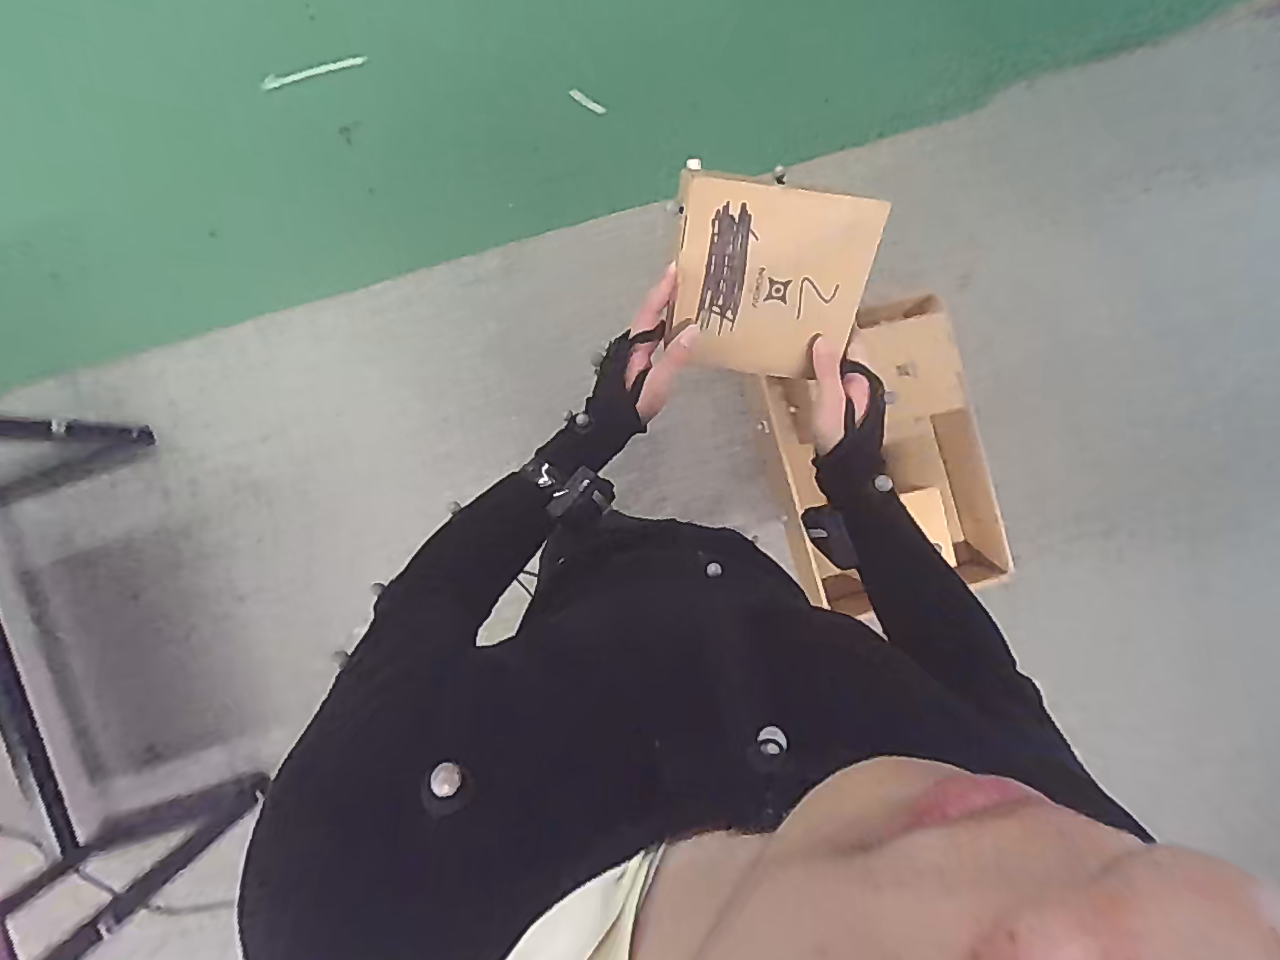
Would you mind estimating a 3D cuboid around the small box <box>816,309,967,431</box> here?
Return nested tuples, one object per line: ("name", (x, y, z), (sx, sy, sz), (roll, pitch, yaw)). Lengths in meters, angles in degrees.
("small box", (0.441, -0.189, 0.972), (0.179, 0.176, 0.168), (-12, 90, 0))
